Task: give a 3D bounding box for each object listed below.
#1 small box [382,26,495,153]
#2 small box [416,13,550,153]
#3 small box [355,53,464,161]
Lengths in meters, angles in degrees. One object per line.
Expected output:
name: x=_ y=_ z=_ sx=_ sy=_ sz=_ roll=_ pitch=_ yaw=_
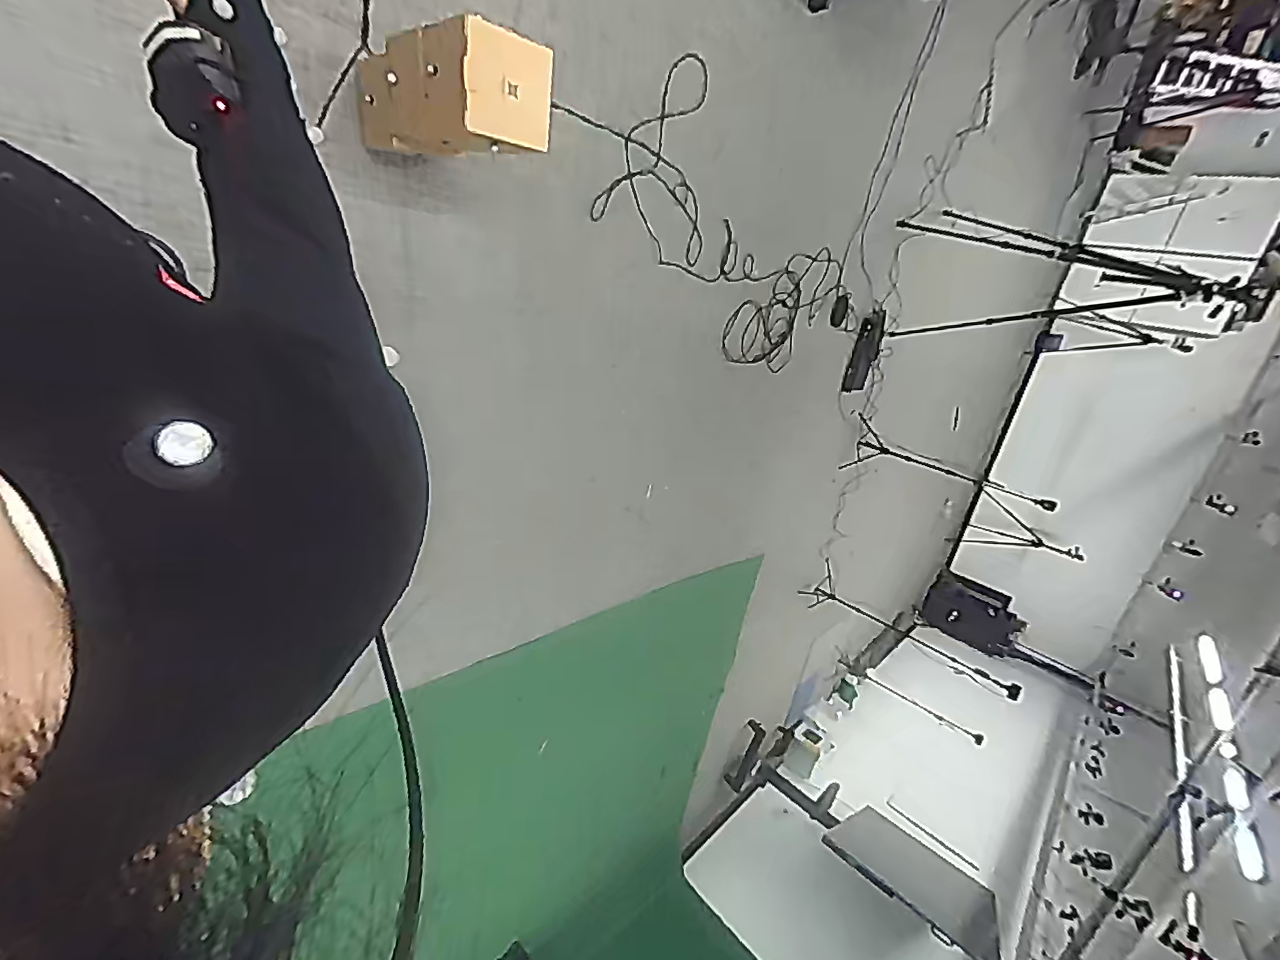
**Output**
small box: x=-0.401 y=-0.779 z=1.099 sx=0.179 sy=0.176 sz=0.168 roll=-14 pitch=120 yaw=-43
small box: x=-0.290 y=-0.716 z=0.997 sx=0.179 sy=0.176 sz=0.168 roll=-15 pitch=121 yaw=-43
small box: x=-0.516 y=-0.820 z=1.208 sx=0.179 sy=0.176 sz=0.168 roll=-19 pitch=125 yaw=-43
